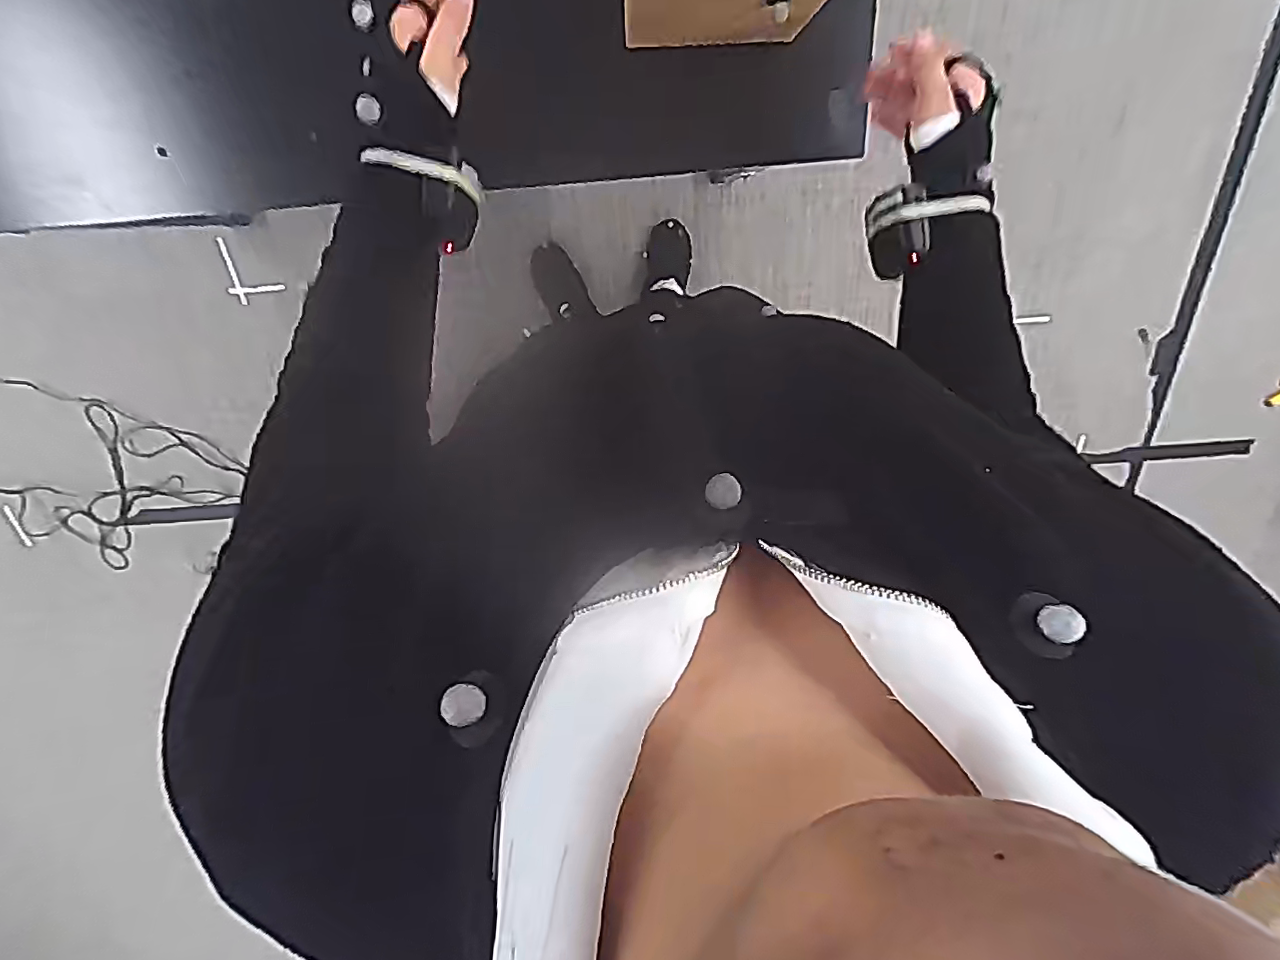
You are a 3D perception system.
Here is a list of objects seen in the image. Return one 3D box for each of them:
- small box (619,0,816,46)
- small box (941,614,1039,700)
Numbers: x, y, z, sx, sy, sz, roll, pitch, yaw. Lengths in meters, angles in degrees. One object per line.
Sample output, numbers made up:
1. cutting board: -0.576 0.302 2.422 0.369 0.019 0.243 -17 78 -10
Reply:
1. small box: 0.068 -0.496 0.458 0.179 0.176 0.168 -3 114 0
2. small box: 1.023 0.514 1.597 0.168 0.176 0.179 -8 119 -1
